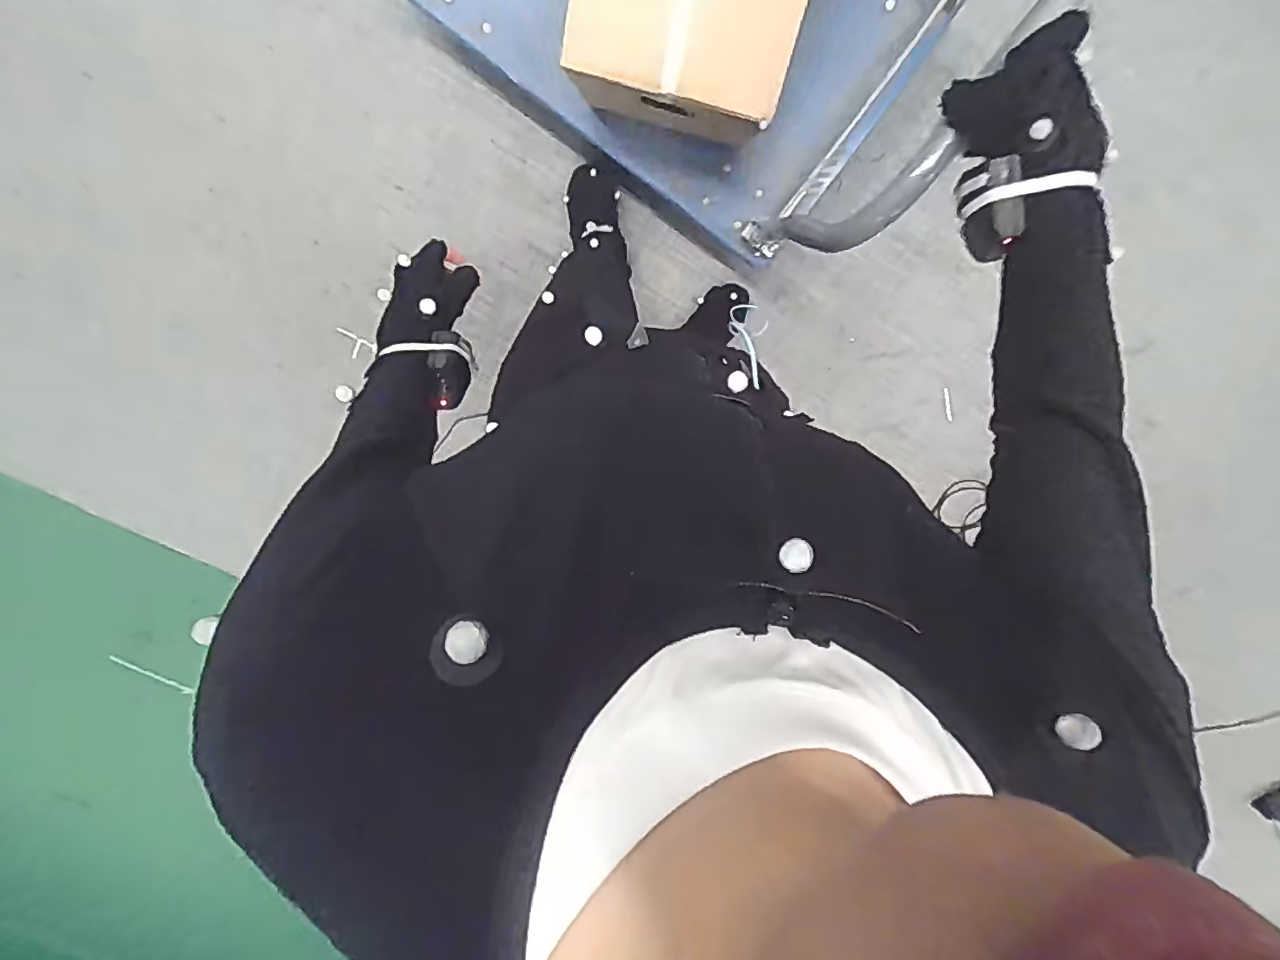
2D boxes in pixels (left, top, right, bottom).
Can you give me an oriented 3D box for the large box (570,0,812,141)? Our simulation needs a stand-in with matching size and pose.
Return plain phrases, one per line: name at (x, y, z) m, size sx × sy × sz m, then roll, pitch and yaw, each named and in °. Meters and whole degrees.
large box at (0.096, -0.790, 0.813) m, size 0.320 × 0.320 × 0.408 m, roll 13°, pitch 117°, yaw -3°
